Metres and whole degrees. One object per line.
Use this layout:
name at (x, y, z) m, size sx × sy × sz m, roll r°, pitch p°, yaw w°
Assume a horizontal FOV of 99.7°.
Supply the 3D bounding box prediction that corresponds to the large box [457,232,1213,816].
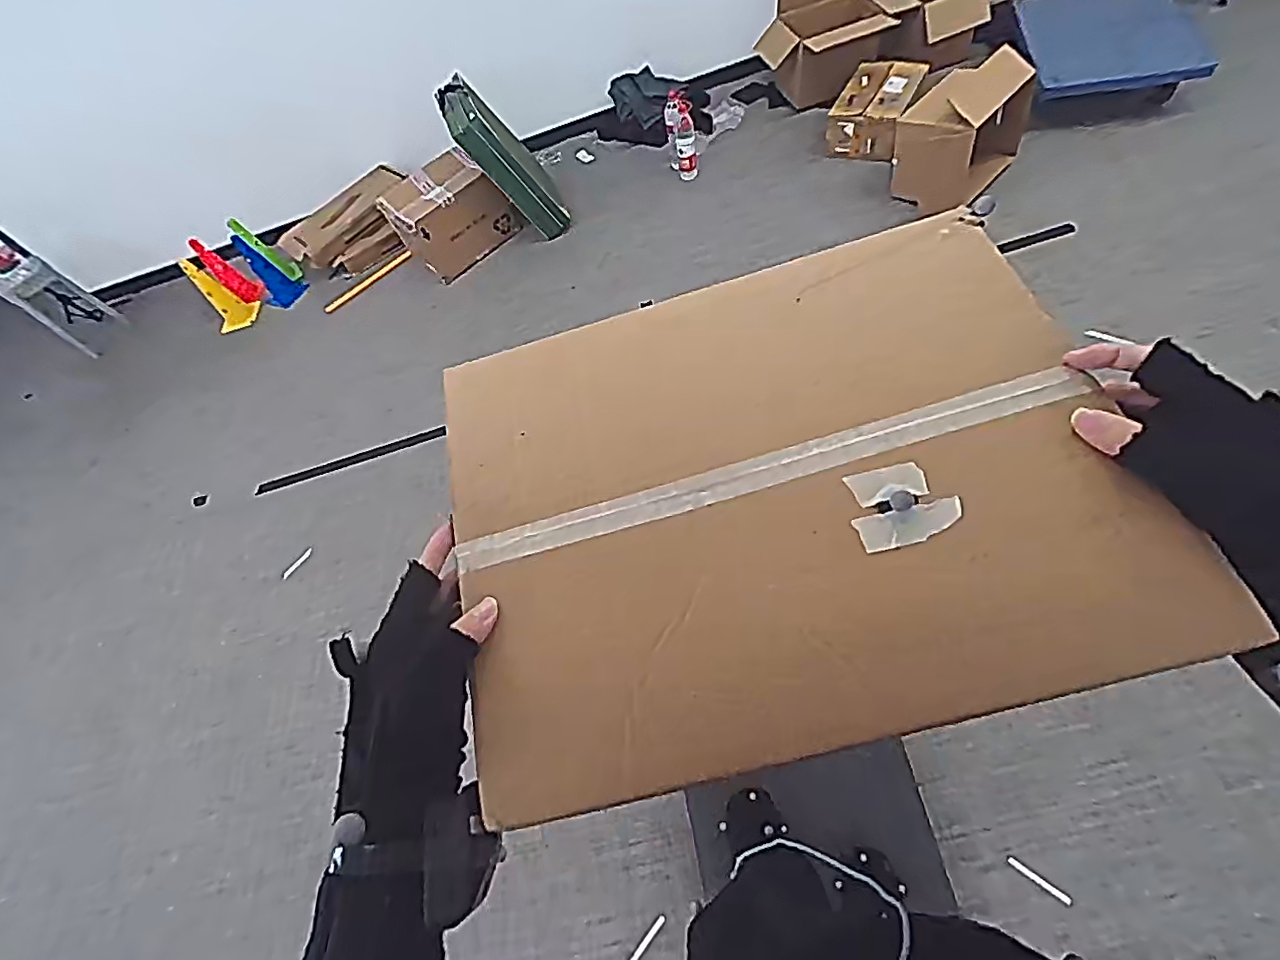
large box at (0.101, 0.059, 0.489) m, size 0.408 × 0.320 × 0.320 m, roll -16°, pitch 65°, yaw 3°
